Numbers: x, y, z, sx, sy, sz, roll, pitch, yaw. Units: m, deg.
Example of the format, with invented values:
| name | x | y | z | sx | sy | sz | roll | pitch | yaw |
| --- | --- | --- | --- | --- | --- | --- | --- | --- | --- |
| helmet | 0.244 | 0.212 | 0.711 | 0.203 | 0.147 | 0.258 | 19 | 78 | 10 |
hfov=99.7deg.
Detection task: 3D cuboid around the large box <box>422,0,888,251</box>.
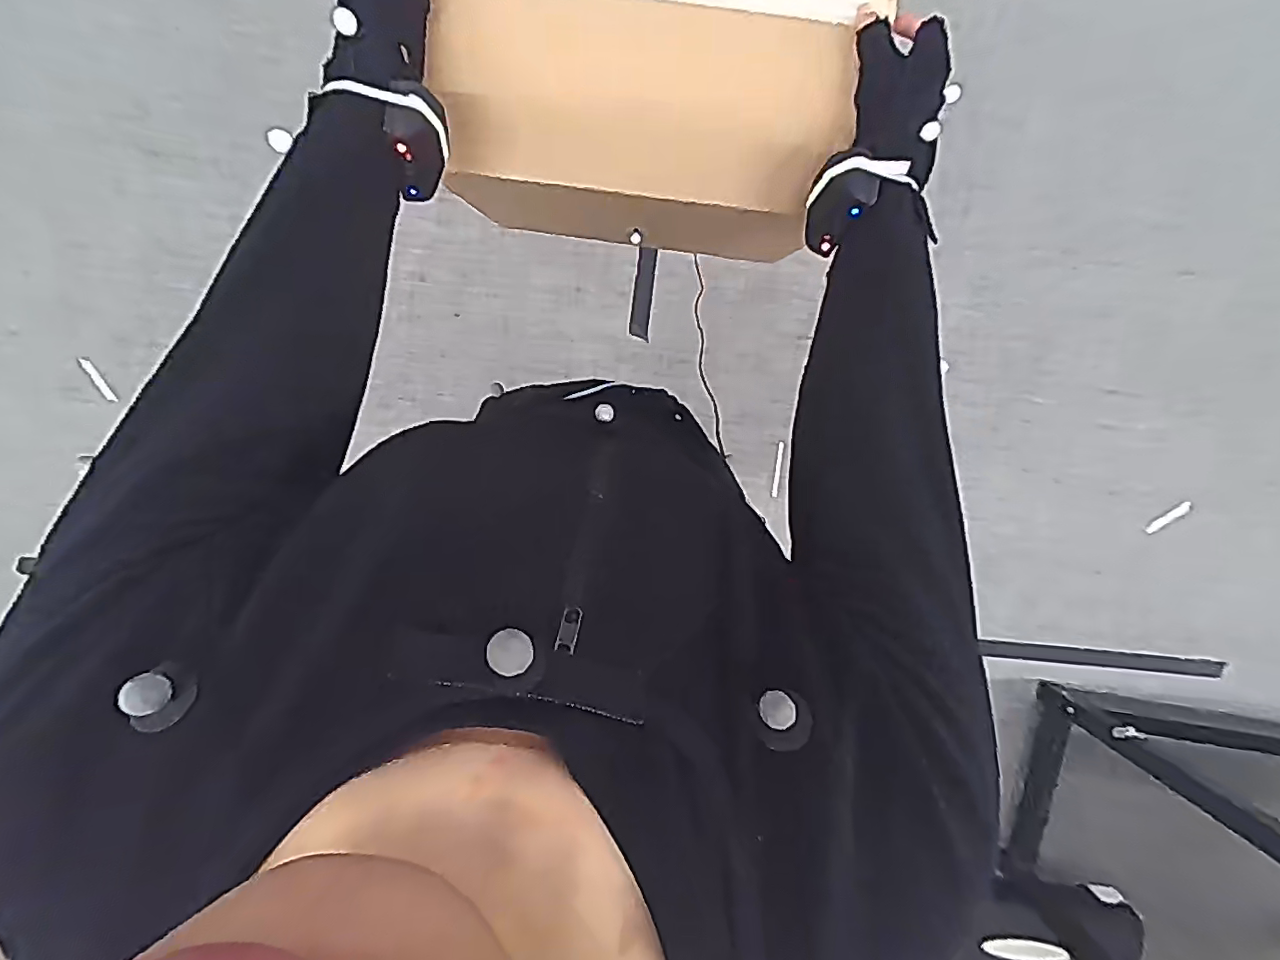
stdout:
| name | x | y | z | sx | sy | sz | roll | pitch | yaw |
| --- | --- | --- | --- | --- | --- | --- | --- | --- | --- |
| large box | 0.016 | -0.455 | 0.604 | 0.408 | 0.320 | 0.320 | 7 | 105 | -1 |
